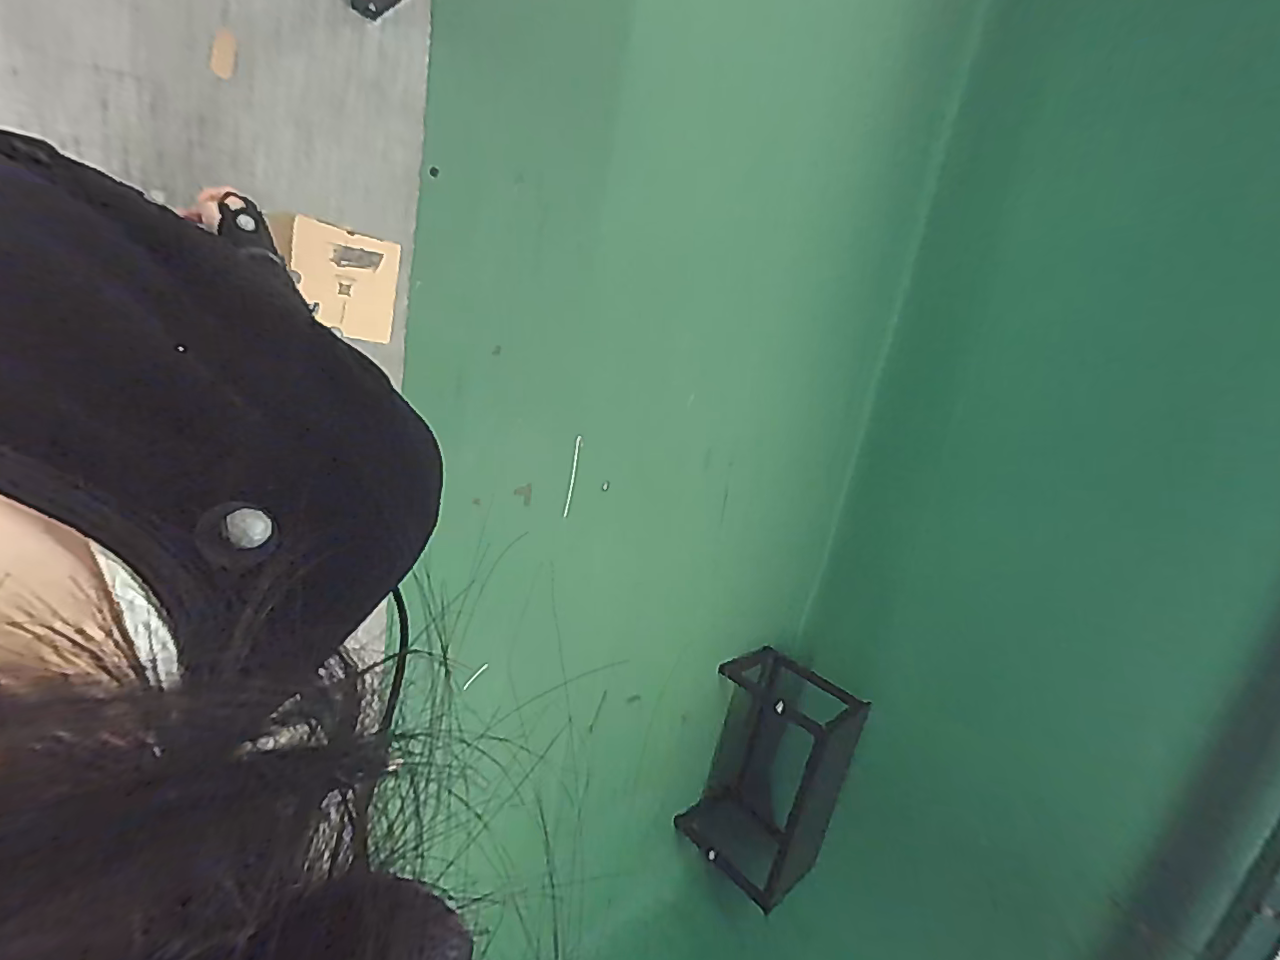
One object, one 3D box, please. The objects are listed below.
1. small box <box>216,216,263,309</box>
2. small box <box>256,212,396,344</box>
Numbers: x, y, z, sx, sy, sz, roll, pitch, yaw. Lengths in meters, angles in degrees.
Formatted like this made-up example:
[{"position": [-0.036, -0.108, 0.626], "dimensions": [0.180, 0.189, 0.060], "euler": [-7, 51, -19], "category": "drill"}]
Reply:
[{"position": [-0.786, -0.445, 1.169], "dimensions": [0.179, 0.176, 0.168], "euler": [12, 99, -48], "category": "small box"}, {"position": [-0.556, -0.353, 0.953], "dimensions": [0.168, 0.176, 0.179], "euler": [0, 109, -47], "category": "small box"}]
